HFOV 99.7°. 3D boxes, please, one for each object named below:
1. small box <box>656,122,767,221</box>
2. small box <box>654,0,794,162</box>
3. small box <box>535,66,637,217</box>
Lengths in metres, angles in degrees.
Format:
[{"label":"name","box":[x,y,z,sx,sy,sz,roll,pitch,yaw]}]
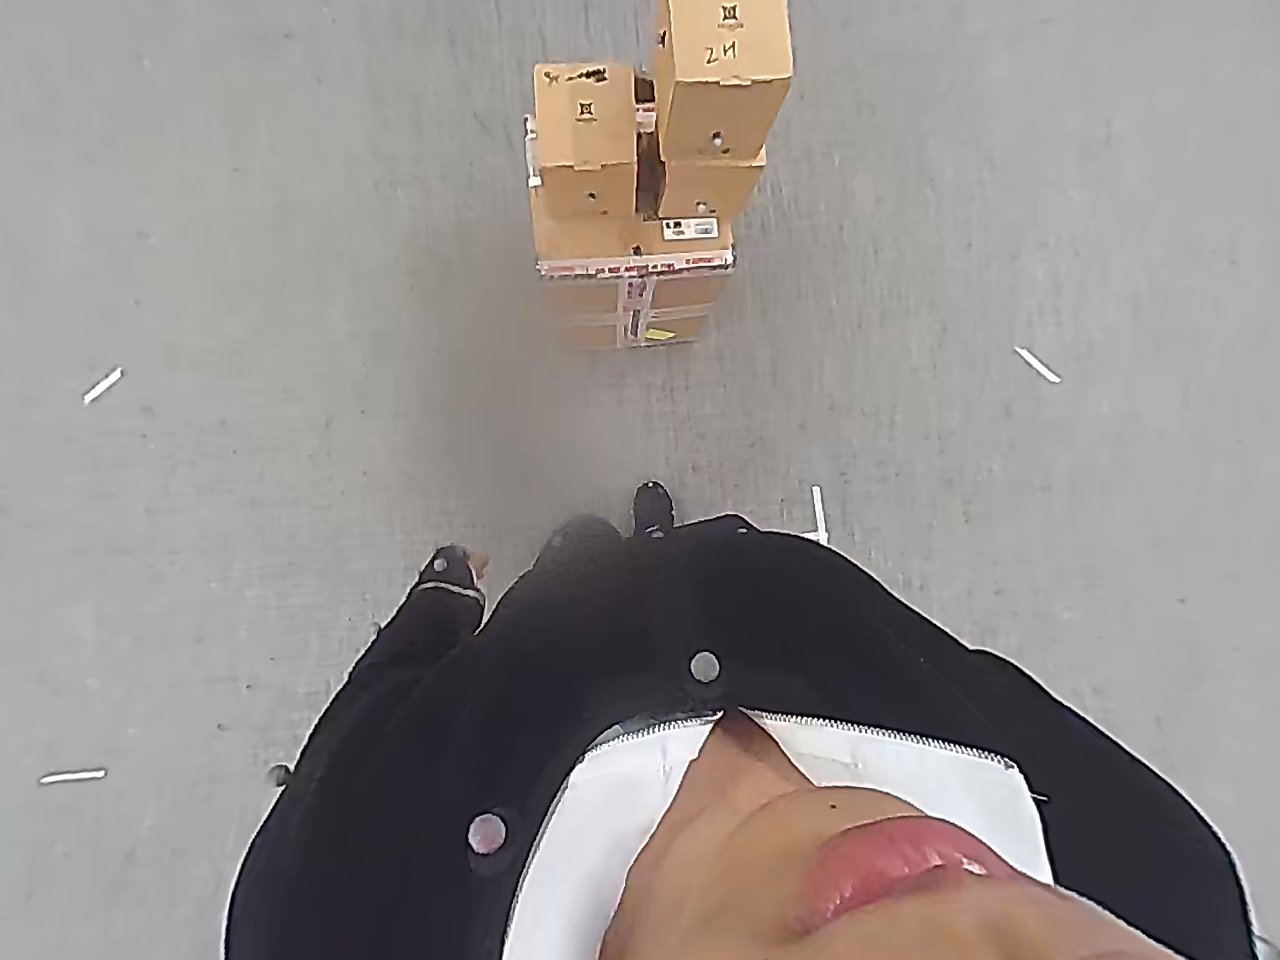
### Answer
[{"label":"small box","box":[0.121,-0.597,0.977,0.168,0.176,0.179,-3,89,-5]},{"label":"small box","box":[0.116,-0.614,0.812,0.168,0.176,0.179,-5,88,-5]},{"label":"small box","box":[-0.089,-0.589,0.964,0.168,0.176,0.179,-2,89,-2]}]
